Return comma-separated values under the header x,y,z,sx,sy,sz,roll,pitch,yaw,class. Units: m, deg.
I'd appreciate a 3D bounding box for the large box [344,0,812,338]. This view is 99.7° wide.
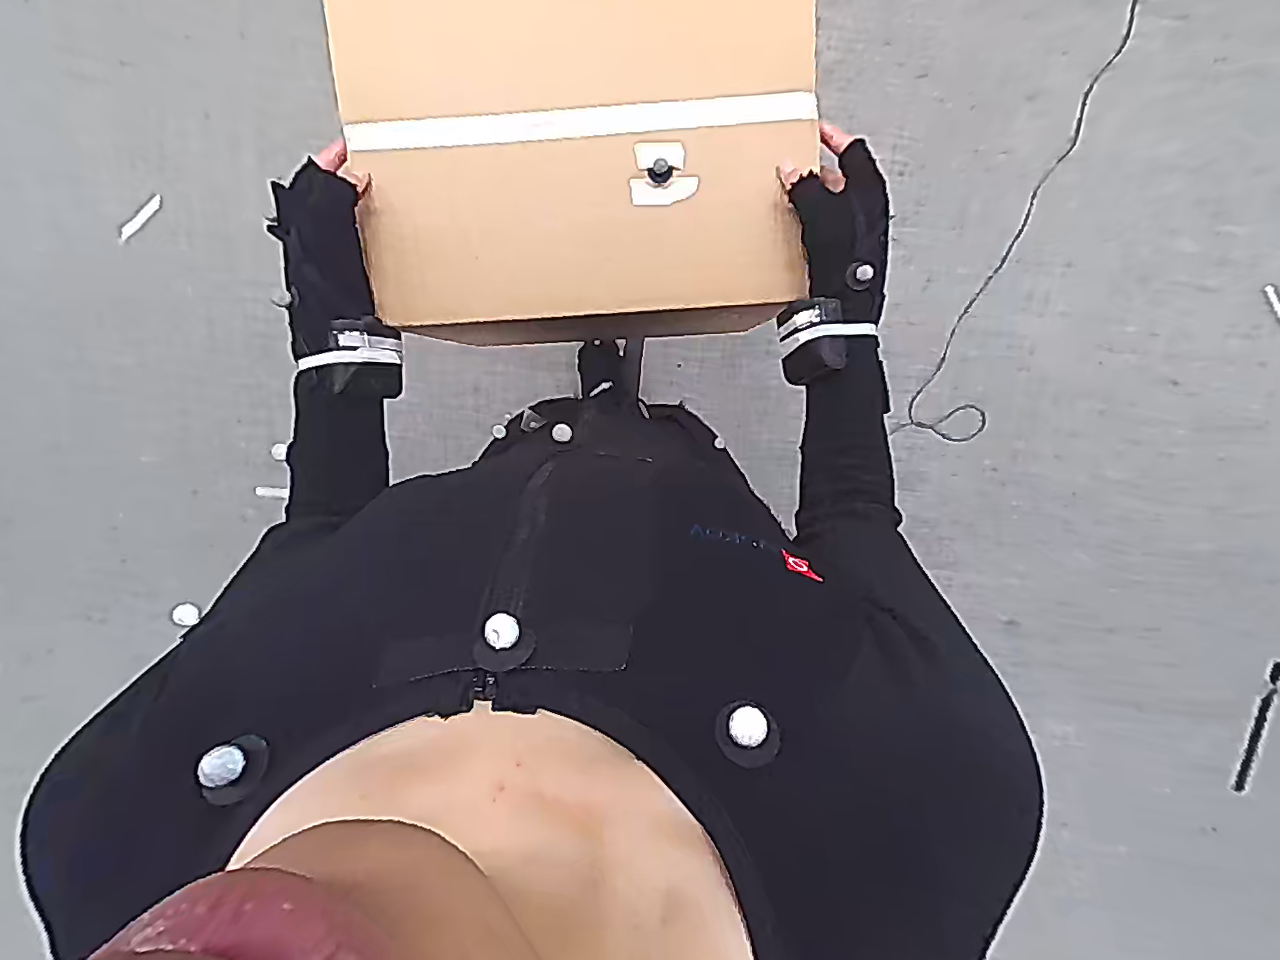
x,y,z,sx,sy,sz,roll,pitch,yaw,class
-0.051,-0.346,0.620,0.408,0.320,0.320,-3,100,0,large box
